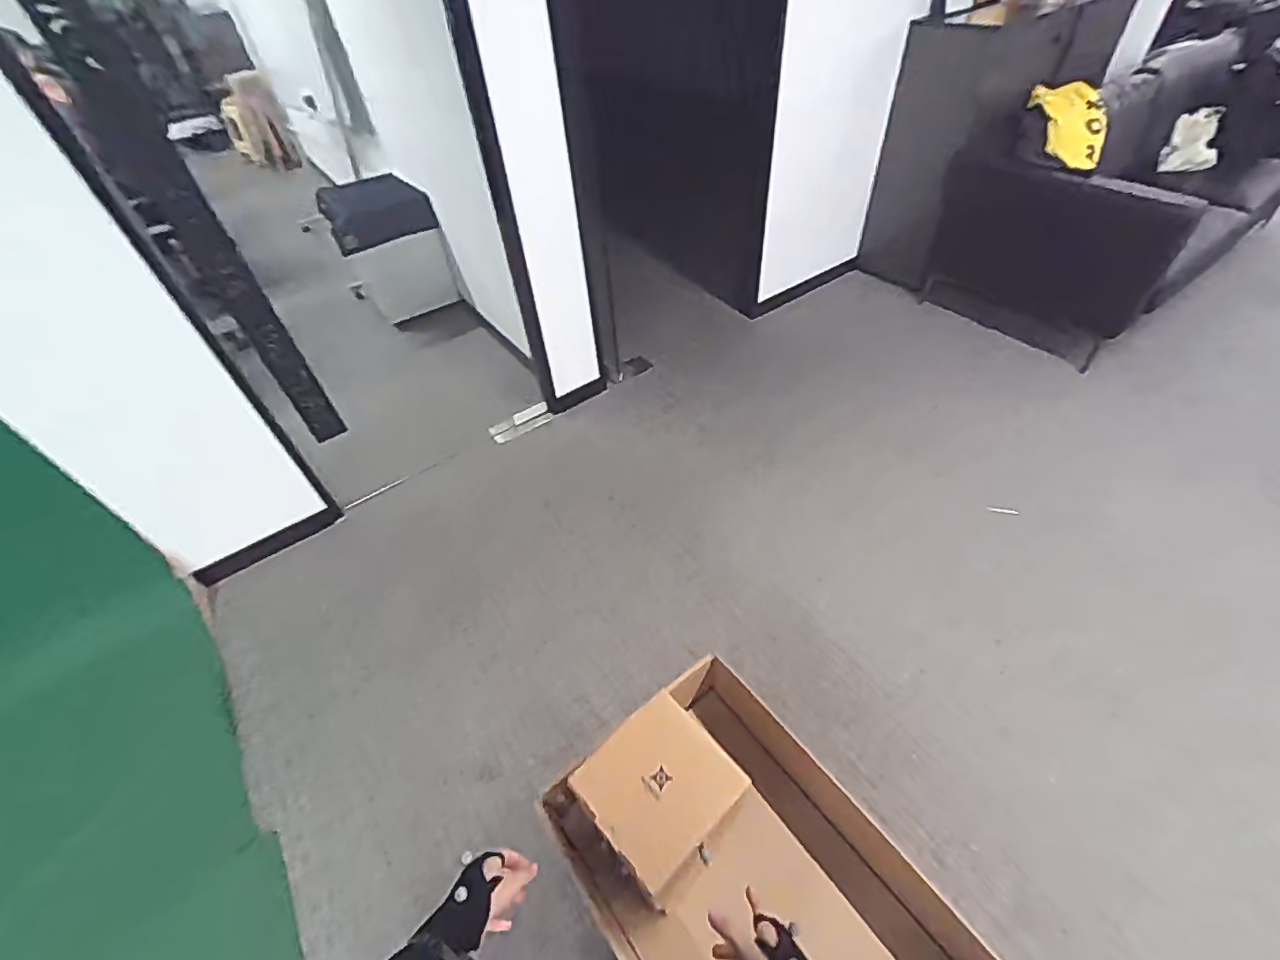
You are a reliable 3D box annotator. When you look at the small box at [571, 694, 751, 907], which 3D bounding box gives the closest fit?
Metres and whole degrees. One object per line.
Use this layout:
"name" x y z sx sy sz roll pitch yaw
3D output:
"small box" 0.029 0.443 0.750 0.179 0.176 0.168 -36 54 -24
